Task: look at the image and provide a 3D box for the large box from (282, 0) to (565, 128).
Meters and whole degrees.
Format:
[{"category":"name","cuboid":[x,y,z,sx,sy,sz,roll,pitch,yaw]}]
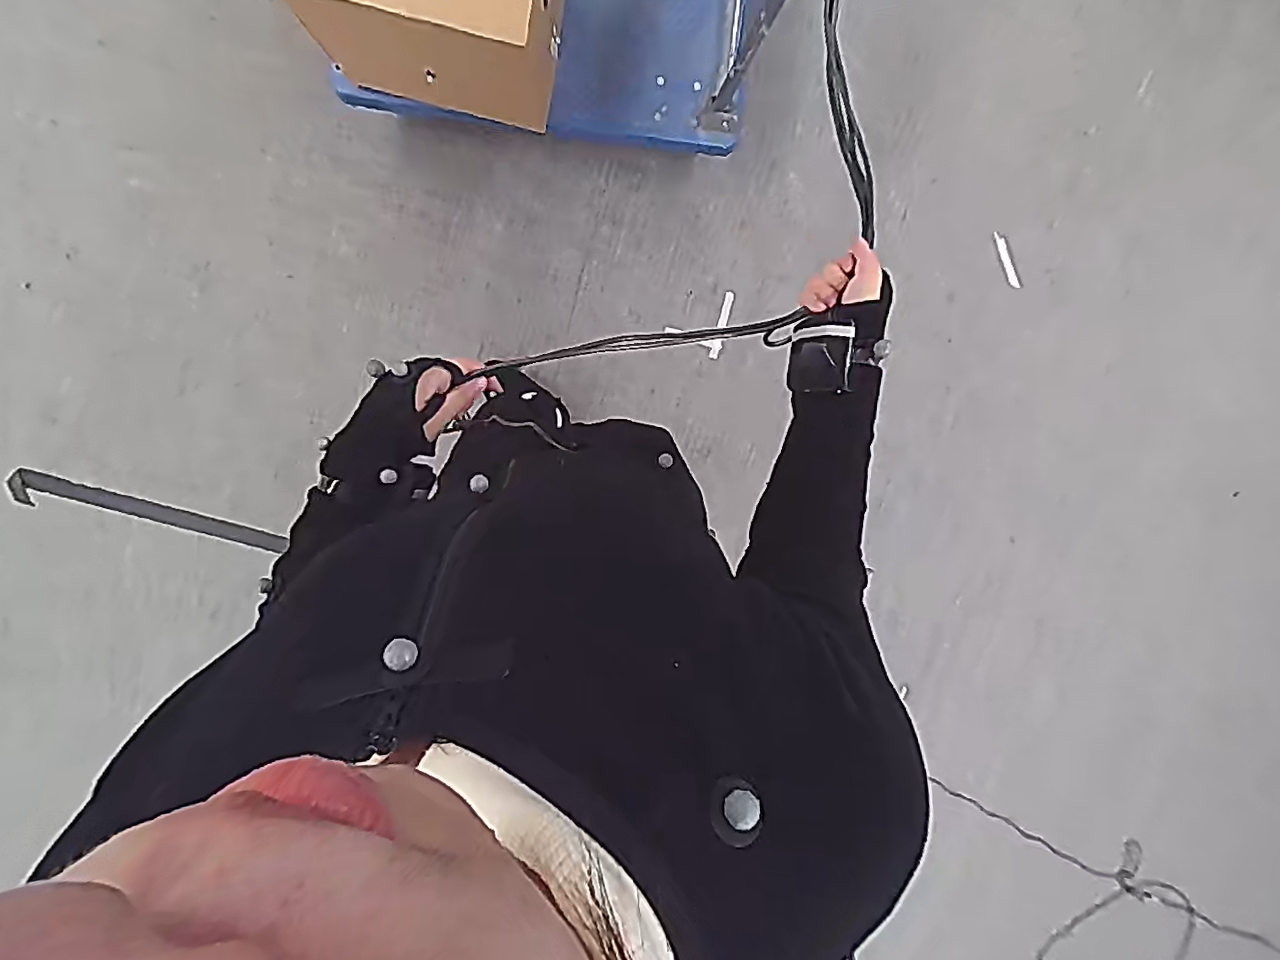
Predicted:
[{"category":"large box","cuboid":[-0.354,-0.894,0.962,0.408,0.320,0.320,10,99,-6]}]
